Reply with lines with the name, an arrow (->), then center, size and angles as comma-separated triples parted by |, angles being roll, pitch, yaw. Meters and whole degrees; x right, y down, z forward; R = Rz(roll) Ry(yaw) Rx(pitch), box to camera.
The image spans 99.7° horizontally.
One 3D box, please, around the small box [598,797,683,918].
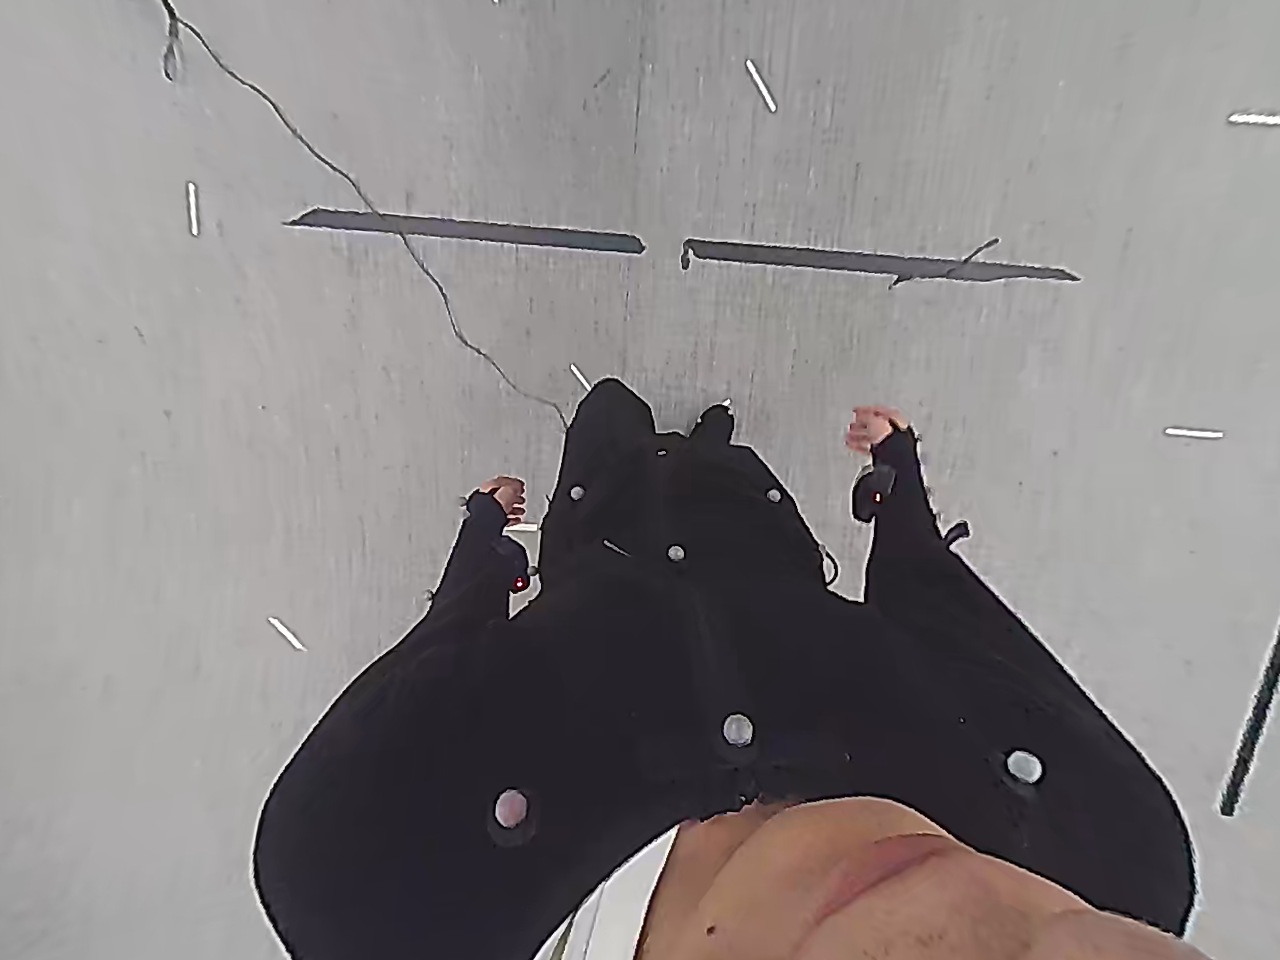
small box -> 0.005, 0.916, 1.325 | 0.179, 0.176, 0.168 | 11, 102, 1
